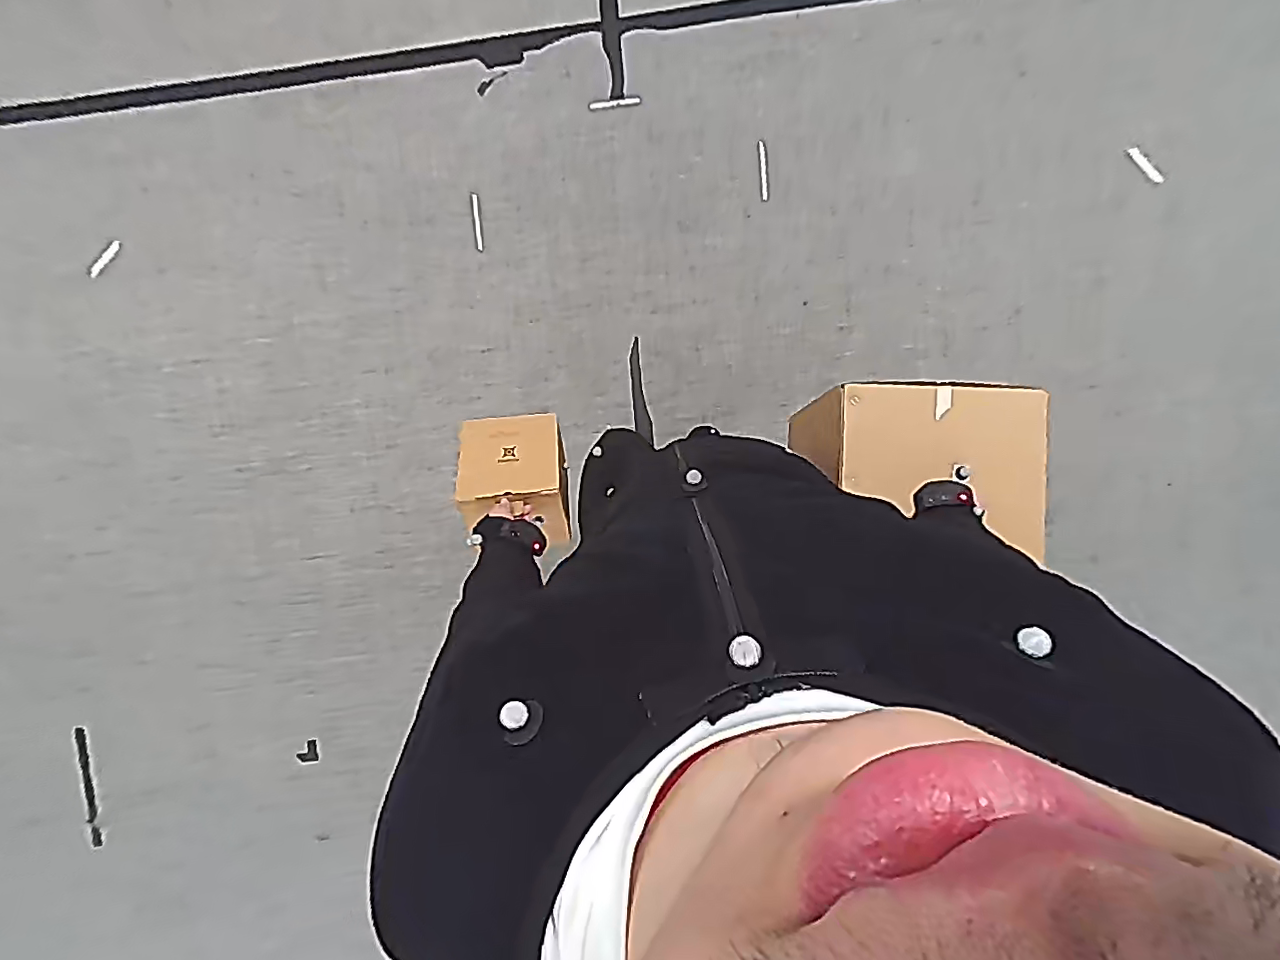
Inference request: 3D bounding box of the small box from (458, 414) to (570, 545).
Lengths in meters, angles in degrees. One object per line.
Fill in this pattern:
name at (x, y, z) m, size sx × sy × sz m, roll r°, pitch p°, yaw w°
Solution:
small box at (-0.219, 0.006, 0.979) m, size 0.168 × 0.176 × 0.179 m, roll -6°, pitch 52°, yaw -5°
